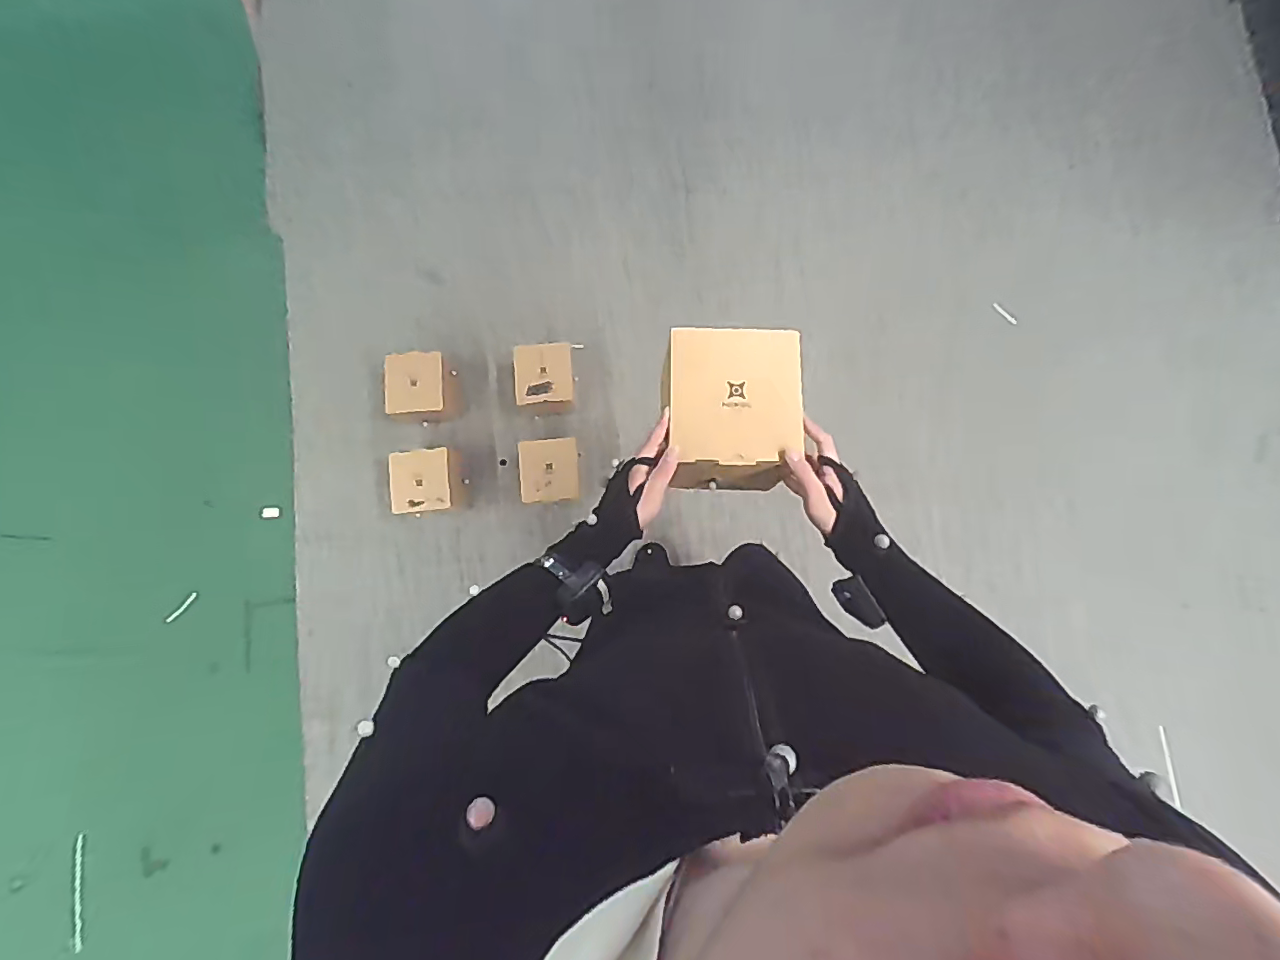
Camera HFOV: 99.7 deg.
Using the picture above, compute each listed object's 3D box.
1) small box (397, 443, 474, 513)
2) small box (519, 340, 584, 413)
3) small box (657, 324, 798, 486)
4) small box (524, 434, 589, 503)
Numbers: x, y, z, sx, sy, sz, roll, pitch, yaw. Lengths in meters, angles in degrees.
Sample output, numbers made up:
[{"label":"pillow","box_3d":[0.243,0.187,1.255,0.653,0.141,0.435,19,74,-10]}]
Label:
[{"label":"small box","box_3d":[-0.599,-0.001,1.593,0.168,0.176,0.179,-6,82,0]},{"label":"small box","box_3d":[-0.262,-0.304,1.626,0.168,0.176,0.179,-4,83,0]},{"label":"small box","box_3d":[0.110,-0.095,0.744,0.168,0.176,0.179,1,79,-1]},{"label":"small box","box_3d":[-0.242,-0.029,1.593,0.168,0.176,0.179,-4,83,0]}]
